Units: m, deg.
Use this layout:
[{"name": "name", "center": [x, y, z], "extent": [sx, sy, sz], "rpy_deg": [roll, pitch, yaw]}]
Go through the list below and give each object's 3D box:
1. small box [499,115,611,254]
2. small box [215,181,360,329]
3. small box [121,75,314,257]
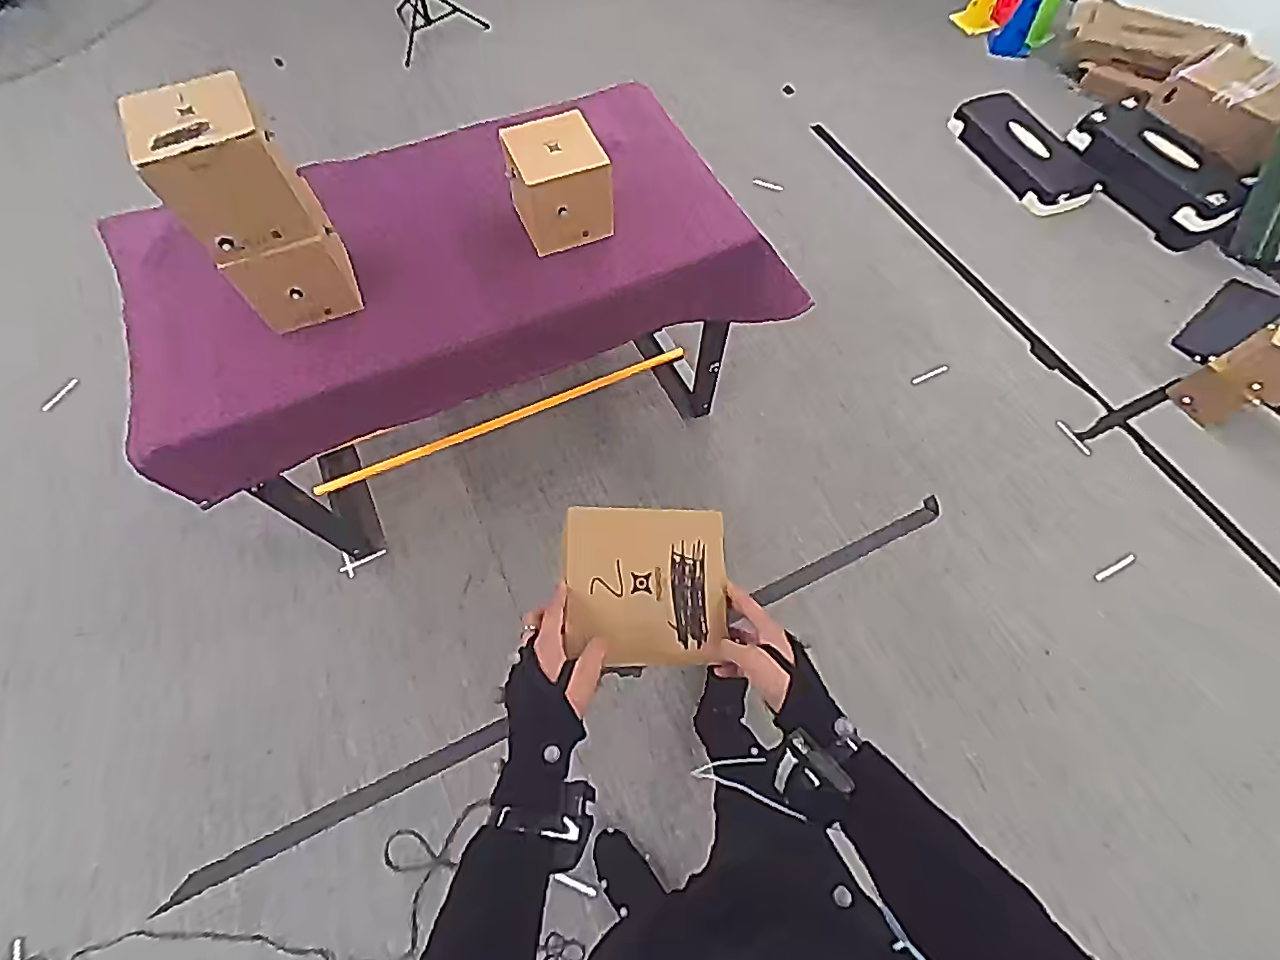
[{"name": "small box", "center": [-0.164, -0.584, 1.089], "extent": [0.168, 0.176, 0.179], "rpy_deg": [-22, 66, -10]}, {"name": "small box", "center": [-0.641, -0.401, 0.991], "extent": [0.168, 0.176, 0.179], "rpy_deg": [-21, 67, -11]}, {"name": "small box", "center": [-0.646, -0.478, 0.846], "extent": [0.168, 0.176, 0.179], "rpy_deg": [-25, 67, -13]}]
